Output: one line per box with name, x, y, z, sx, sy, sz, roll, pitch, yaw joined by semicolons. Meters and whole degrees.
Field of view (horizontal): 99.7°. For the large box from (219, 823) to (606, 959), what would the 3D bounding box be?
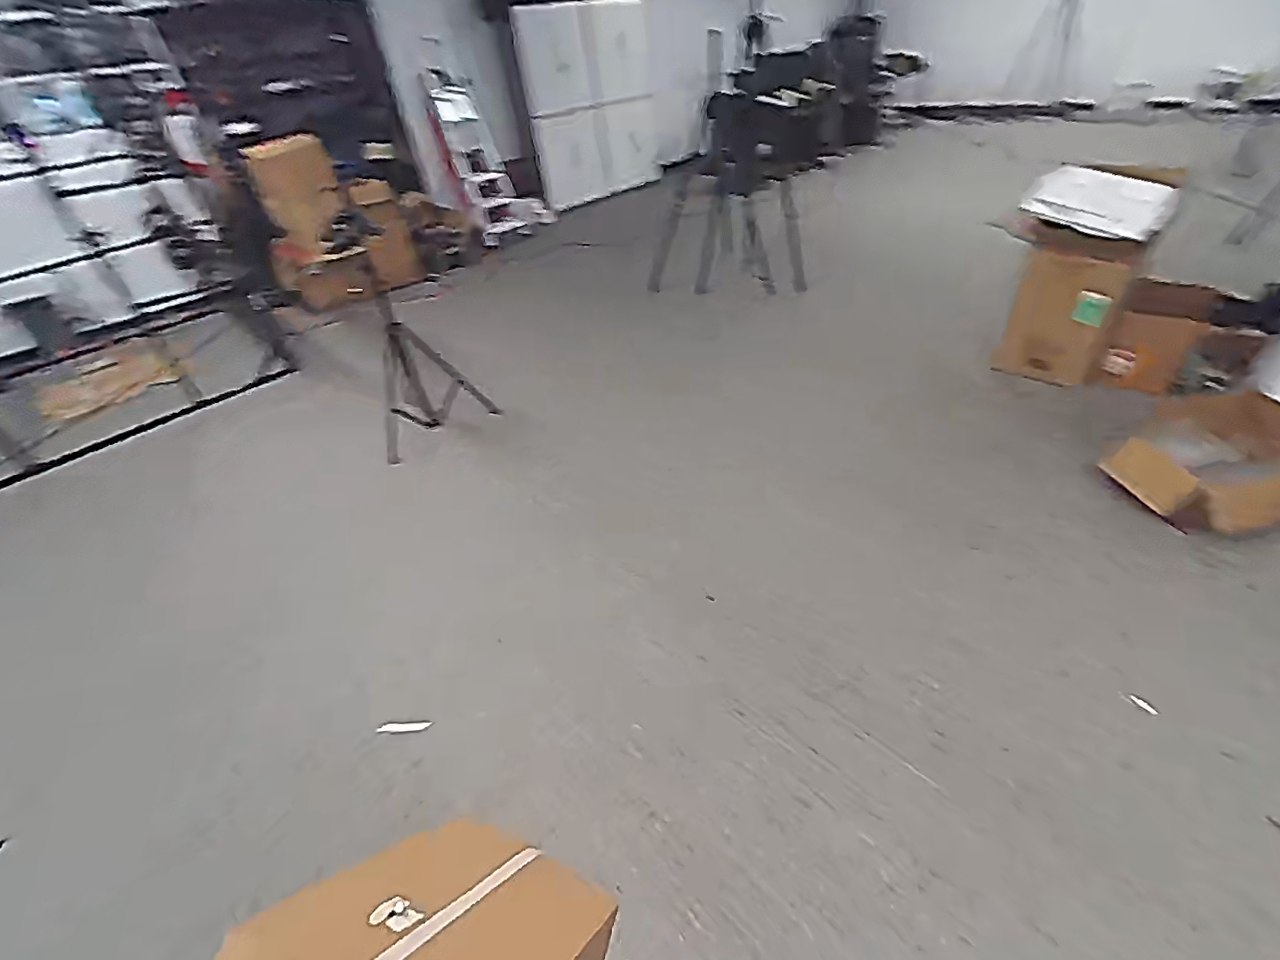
large box;-0.288;0.722;0.677;0.320;0.408;0.320;11;81;22
